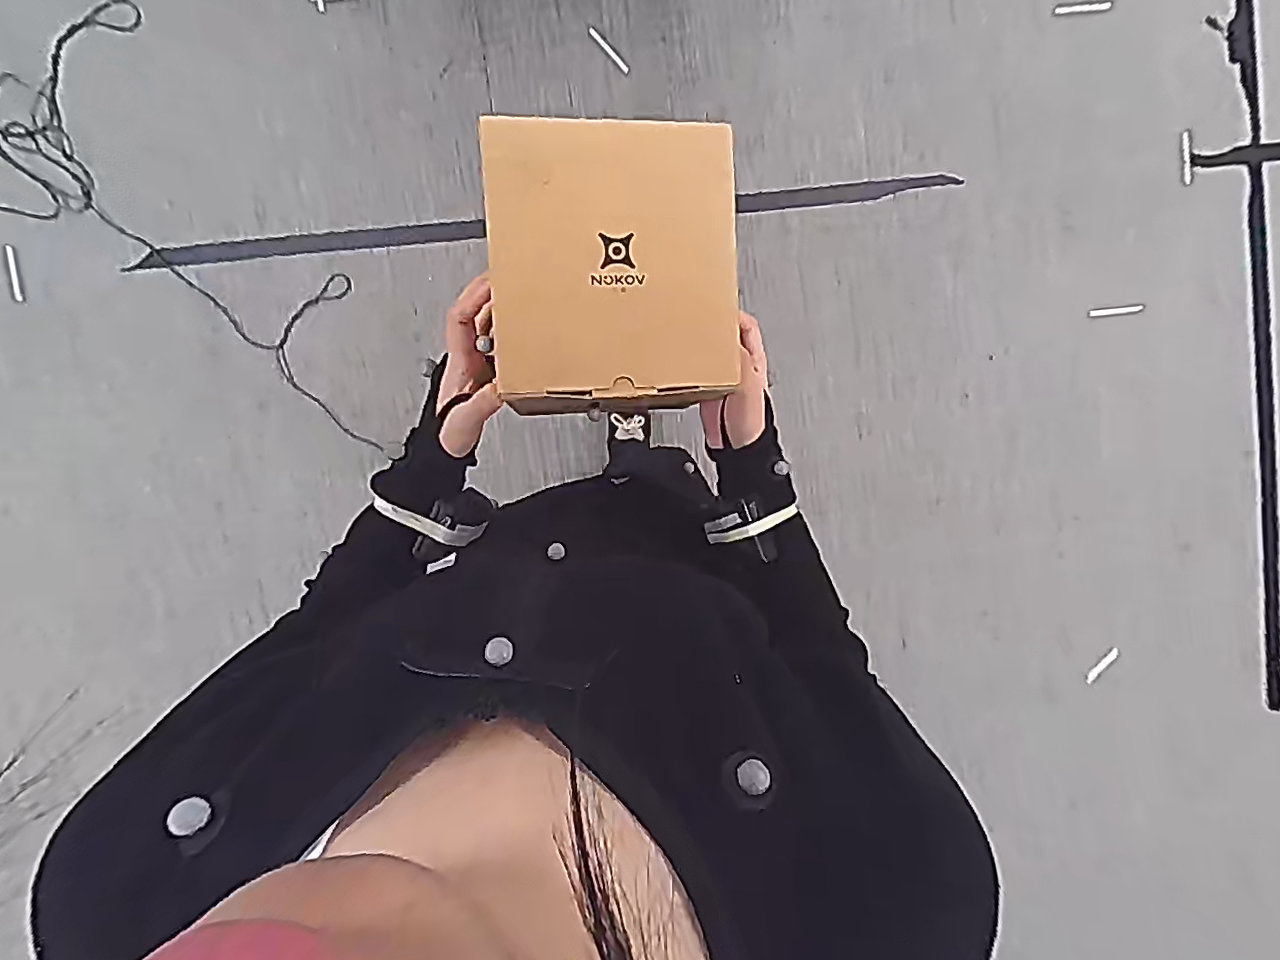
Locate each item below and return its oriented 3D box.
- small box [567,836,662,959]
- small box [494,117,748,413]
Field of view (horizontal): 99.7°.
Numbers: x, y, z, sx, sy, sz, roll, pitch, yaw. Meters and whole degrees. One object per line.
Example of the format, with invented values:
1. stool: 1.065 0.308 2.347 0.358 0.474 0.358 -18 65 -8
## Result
1. small box: -0.055 0.902 1.161 0.179 0.176 0.168 -8 92 -1
2. small box: -0.022 -0.150 0.434 0.168 0.176 0.179 -4 94 -8
